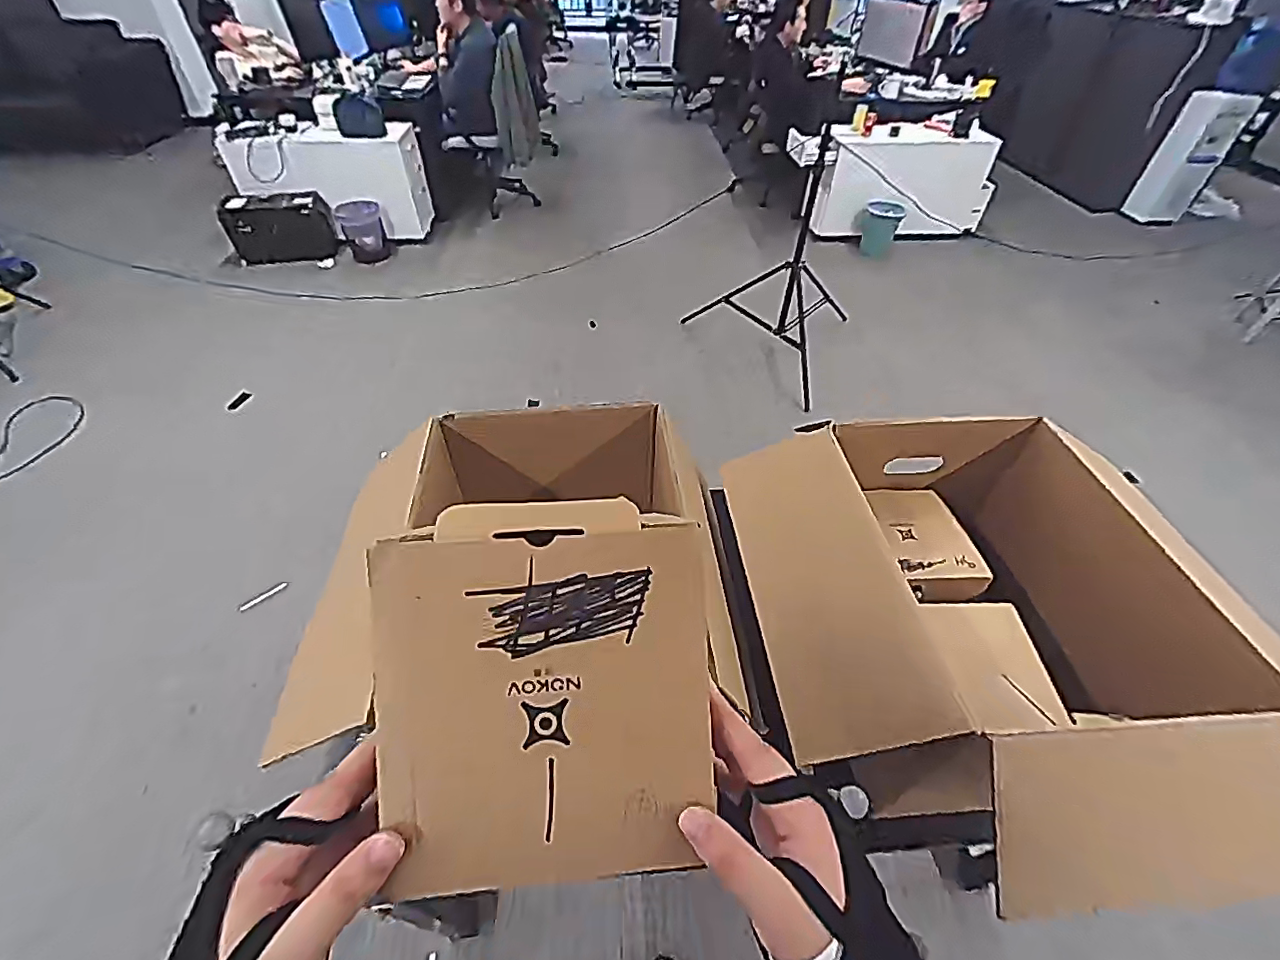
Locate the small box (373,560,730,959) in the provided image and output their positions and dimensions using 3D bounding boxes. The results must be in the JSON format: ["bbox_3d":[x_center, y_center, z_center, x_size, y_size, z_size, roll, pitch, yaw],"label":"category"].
[{"bbox_3d":[-0.049,0.144,0.335,0.168,0.176,0.179,-3,89,-6],"label":"small box"}]
